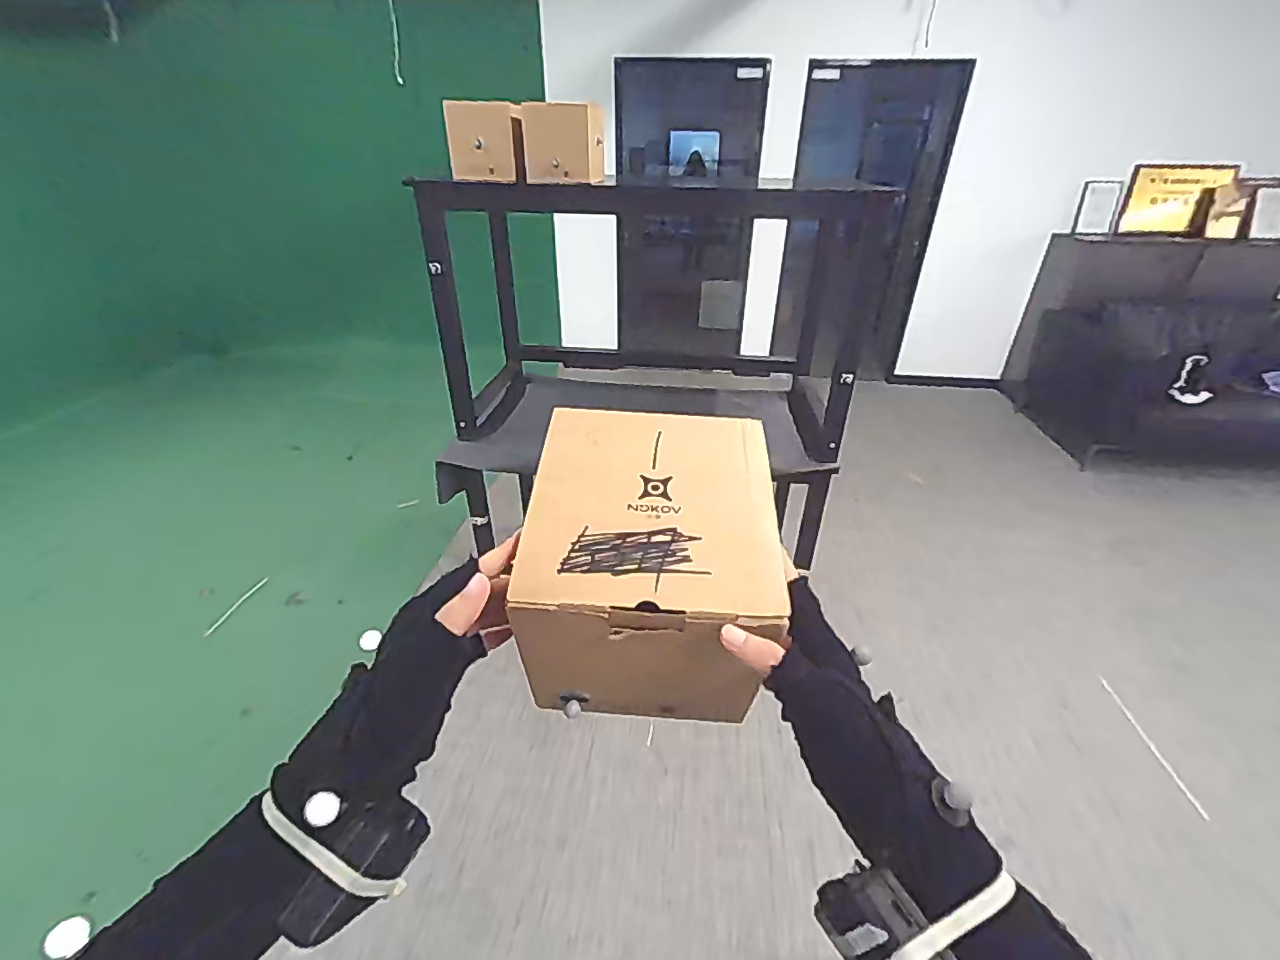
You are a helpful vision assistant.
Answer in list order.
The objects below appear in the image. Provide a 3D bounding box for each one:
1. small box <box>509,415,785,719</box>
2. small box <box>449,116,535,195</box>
[{"bbox_3d":[0.008,0.071,0.428,0.168,0.176,0.179,4,46,1],"label":"small box"},{"bbox_3d":[-0.379,-0.849,1.421,0.168,0.176,0.179,5,30,4],"label":"small box"}]
